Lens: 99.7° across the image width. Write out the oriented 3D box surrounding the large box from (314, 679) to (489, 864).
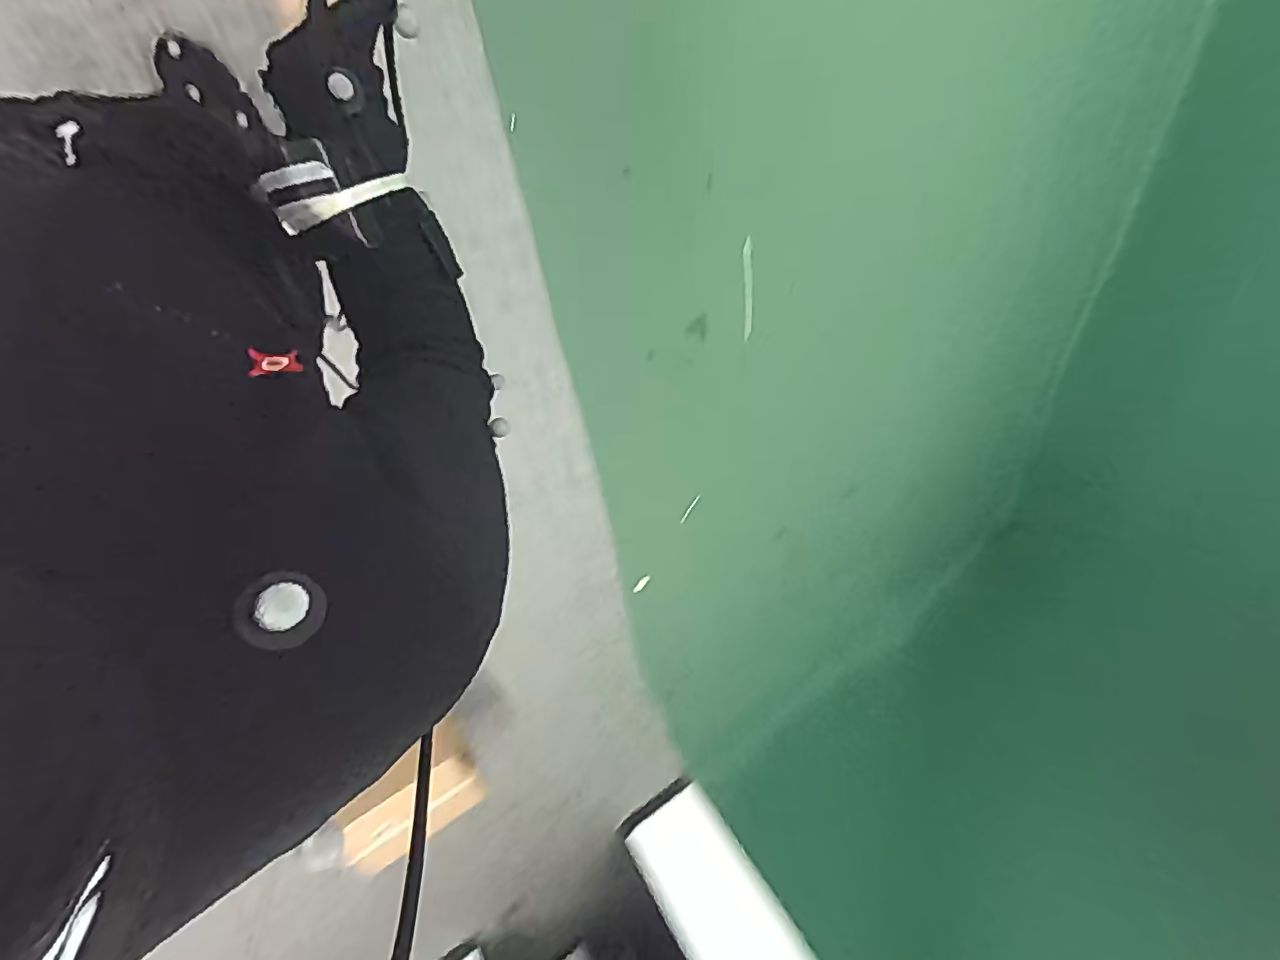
[{"bbox_3d":[-0.776,0.943,1.773,0.408,0.320,0.320,-29,132,-16],"label":"large box"}]
